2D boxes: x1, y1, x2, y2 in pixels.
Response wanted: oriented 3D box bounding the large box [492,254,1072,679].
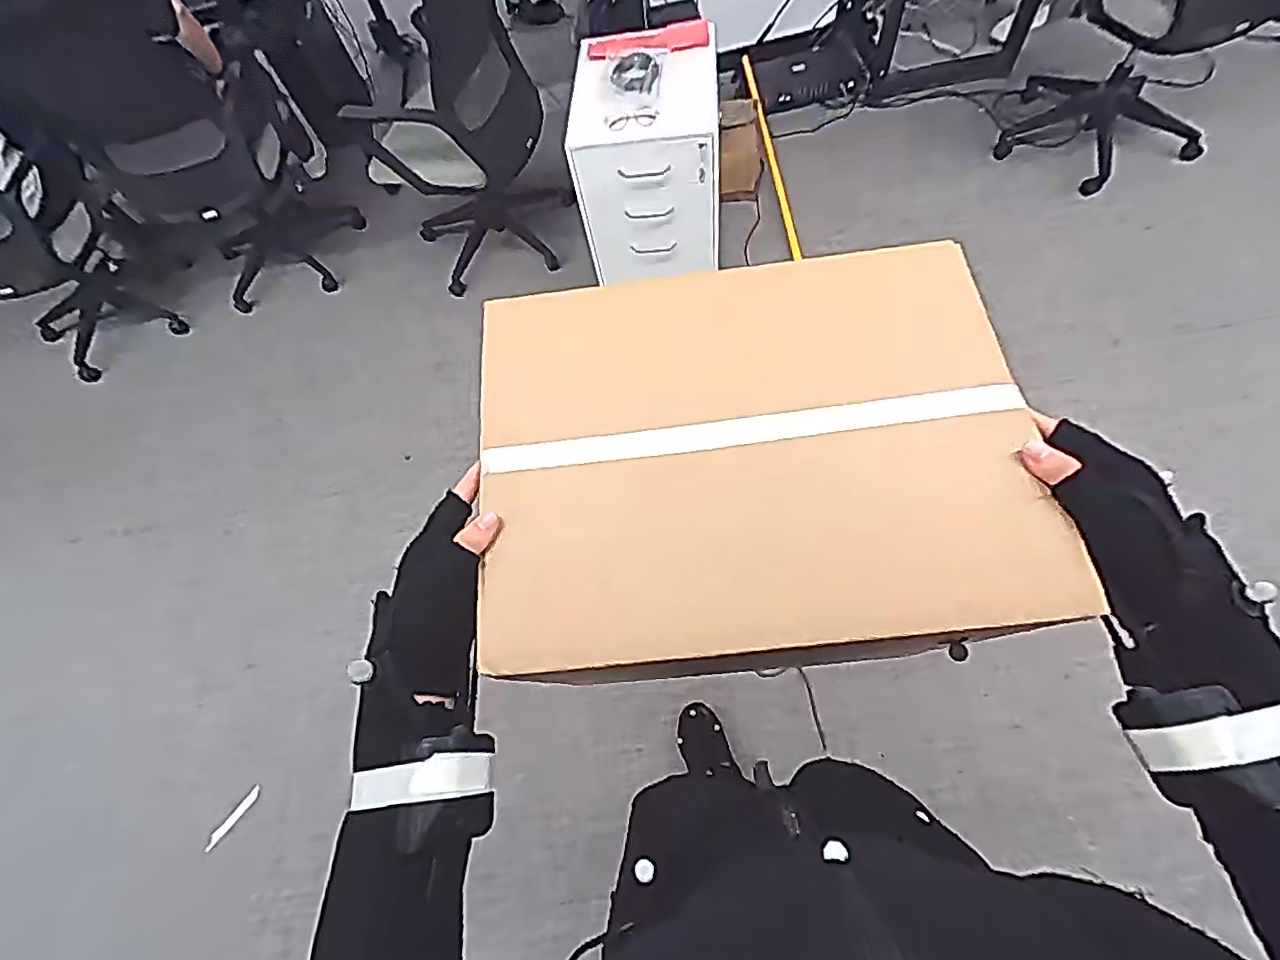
[{"bbox_3d":[0.094,0.023,0.560,0.408,0.320,0.320,-7,68,3],"label":"large box"}]
